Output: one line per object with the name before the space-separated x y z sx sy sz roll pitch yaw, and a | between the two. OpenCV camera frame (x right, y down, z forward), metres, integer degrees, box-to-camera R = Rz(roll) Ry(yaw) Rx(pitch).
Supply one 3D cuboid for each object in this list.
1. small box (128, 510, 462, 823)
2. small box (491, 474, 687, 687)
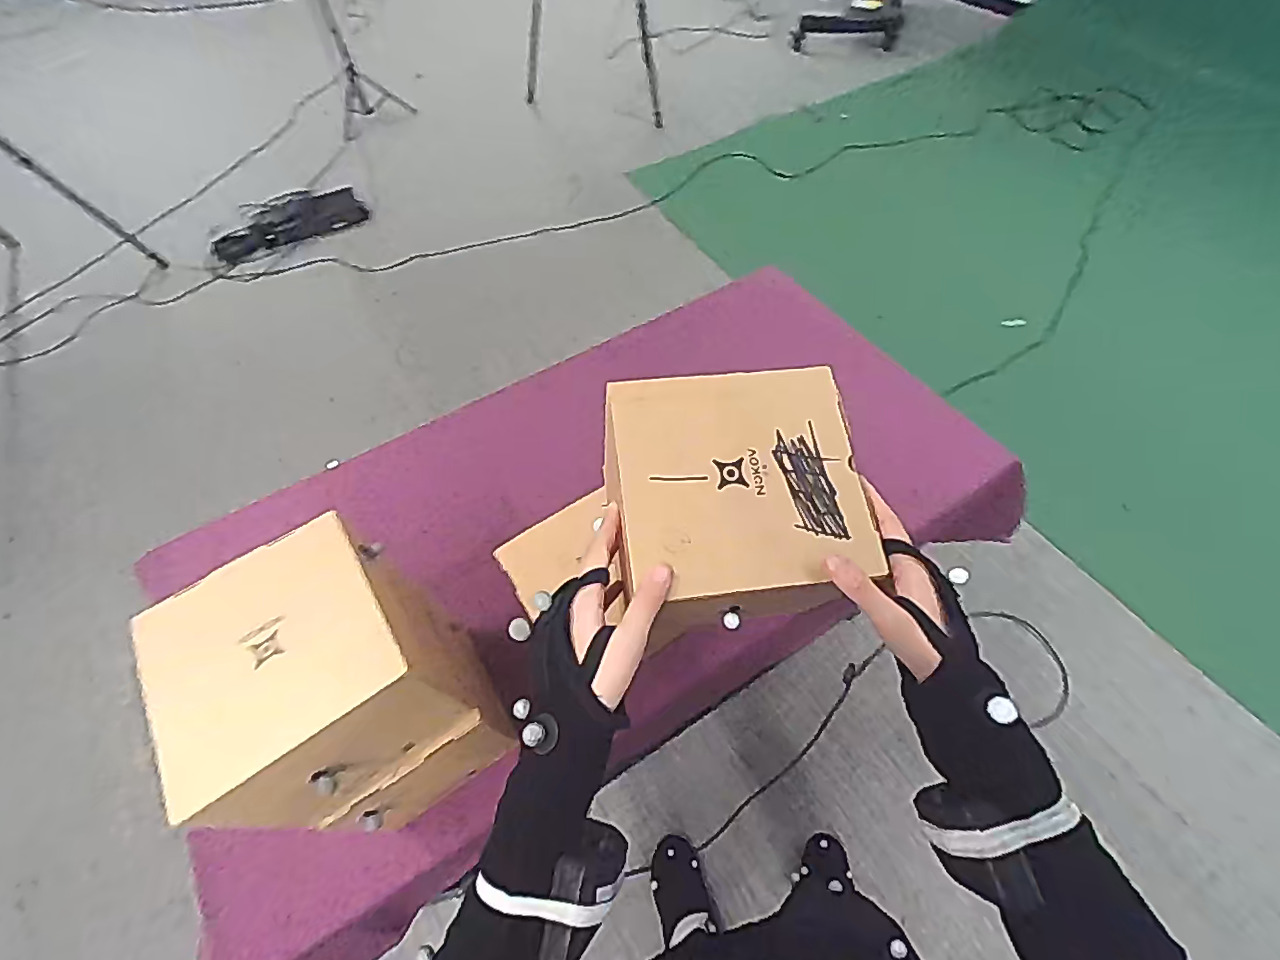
small box | -0.285 0.166 0.477 0.168 0.176 0.179 -33 60 -16
small box | -0.055 0.132 0.678 0.179 0.176 0.168 -30 61 -15
